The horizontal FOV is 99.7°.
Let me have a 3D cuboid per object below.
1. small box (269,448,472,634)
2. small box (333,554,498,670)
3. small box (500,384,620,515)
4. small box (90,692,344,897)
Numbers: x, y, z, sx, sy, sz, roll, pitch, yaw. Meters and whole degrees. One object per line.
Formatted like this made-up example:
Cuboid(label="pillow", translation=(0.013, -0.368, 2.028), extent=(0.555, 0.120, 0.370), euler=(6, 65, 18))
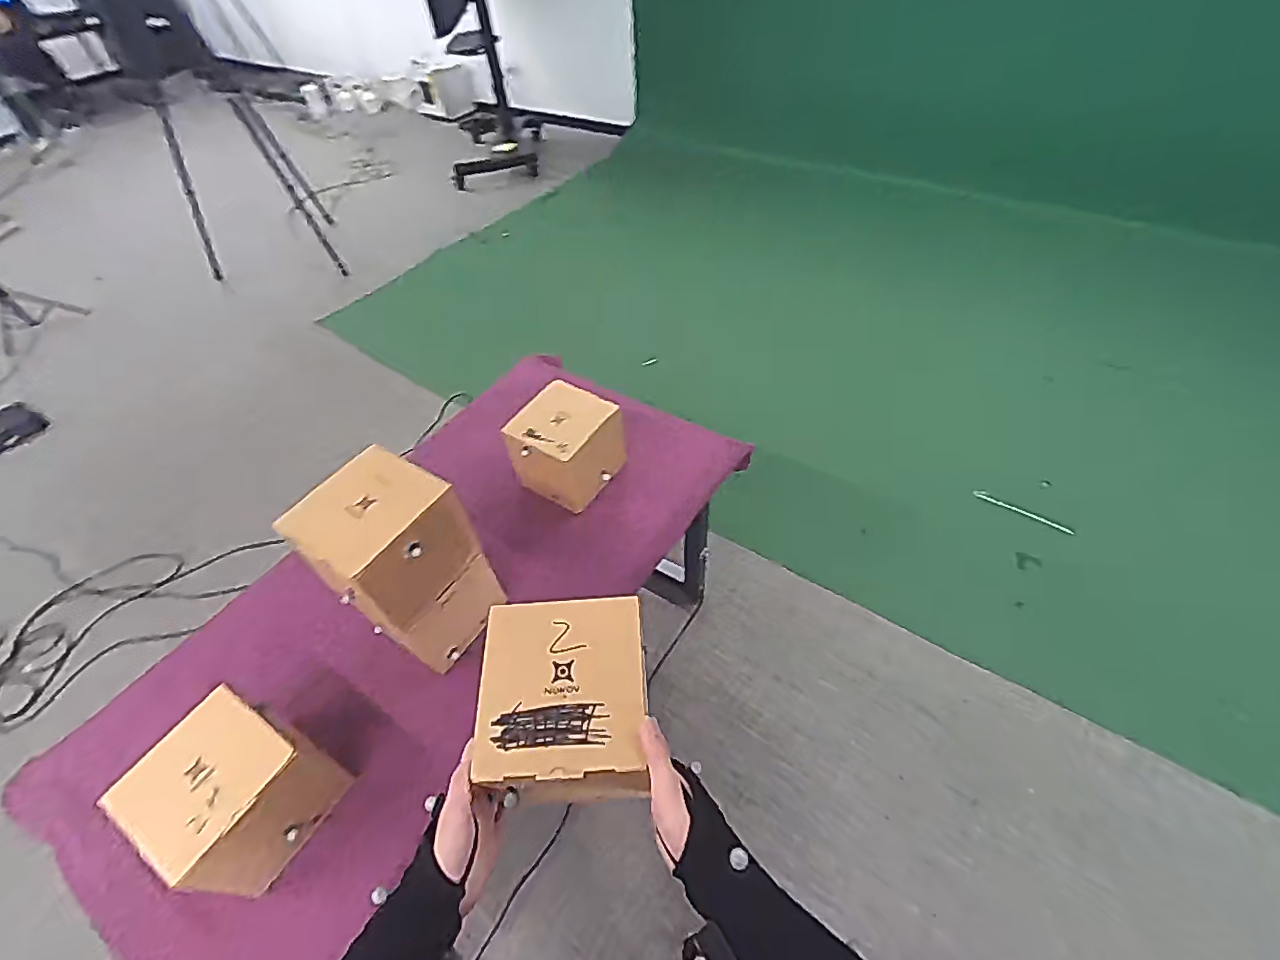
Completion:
Cuboid(label="small box", translation=(-0.374, 0.091, 0.786), extent=(0.168, 0.176, 0.179), euler=(25, 55, 21))
Cuboid(label="small box", translation=(-0.368, 0.195, 0.912), extent=(0.179, 0.176, 0.168), euler=(24, 55, 23))
Cuboid(label="small box", translation=(-0.154, -0.063, 1.114), extent=(0.168, 0.176, 0.179), euler=(23, 55, 24))
Cuboid(label="small box", translation=(-0.549, 0.425, 0.727), extent=(0.179, 0.176, 0.168), euler=(23, 56, 21))
